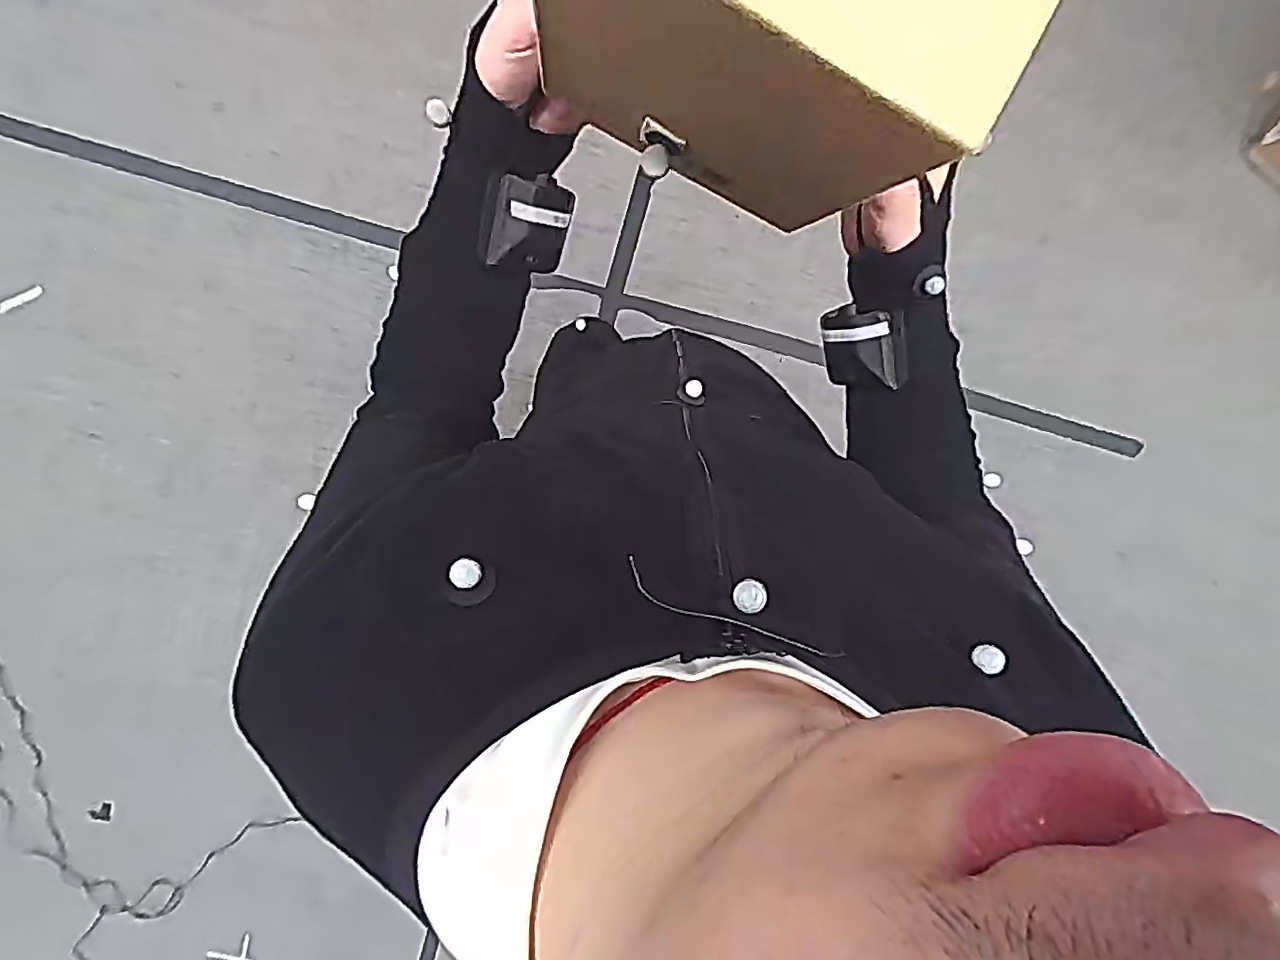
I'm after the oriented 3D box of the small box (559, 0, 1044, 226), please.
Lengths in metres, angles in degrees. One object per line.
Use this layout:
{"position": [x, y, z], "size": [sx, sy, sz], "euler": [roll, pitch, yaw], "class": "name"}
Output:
{"position": [0.066, -0.244, 0.237], "size": [0.168, 0.176, 0.179], "euler": [22, 101, -12], "class": "small box"}
